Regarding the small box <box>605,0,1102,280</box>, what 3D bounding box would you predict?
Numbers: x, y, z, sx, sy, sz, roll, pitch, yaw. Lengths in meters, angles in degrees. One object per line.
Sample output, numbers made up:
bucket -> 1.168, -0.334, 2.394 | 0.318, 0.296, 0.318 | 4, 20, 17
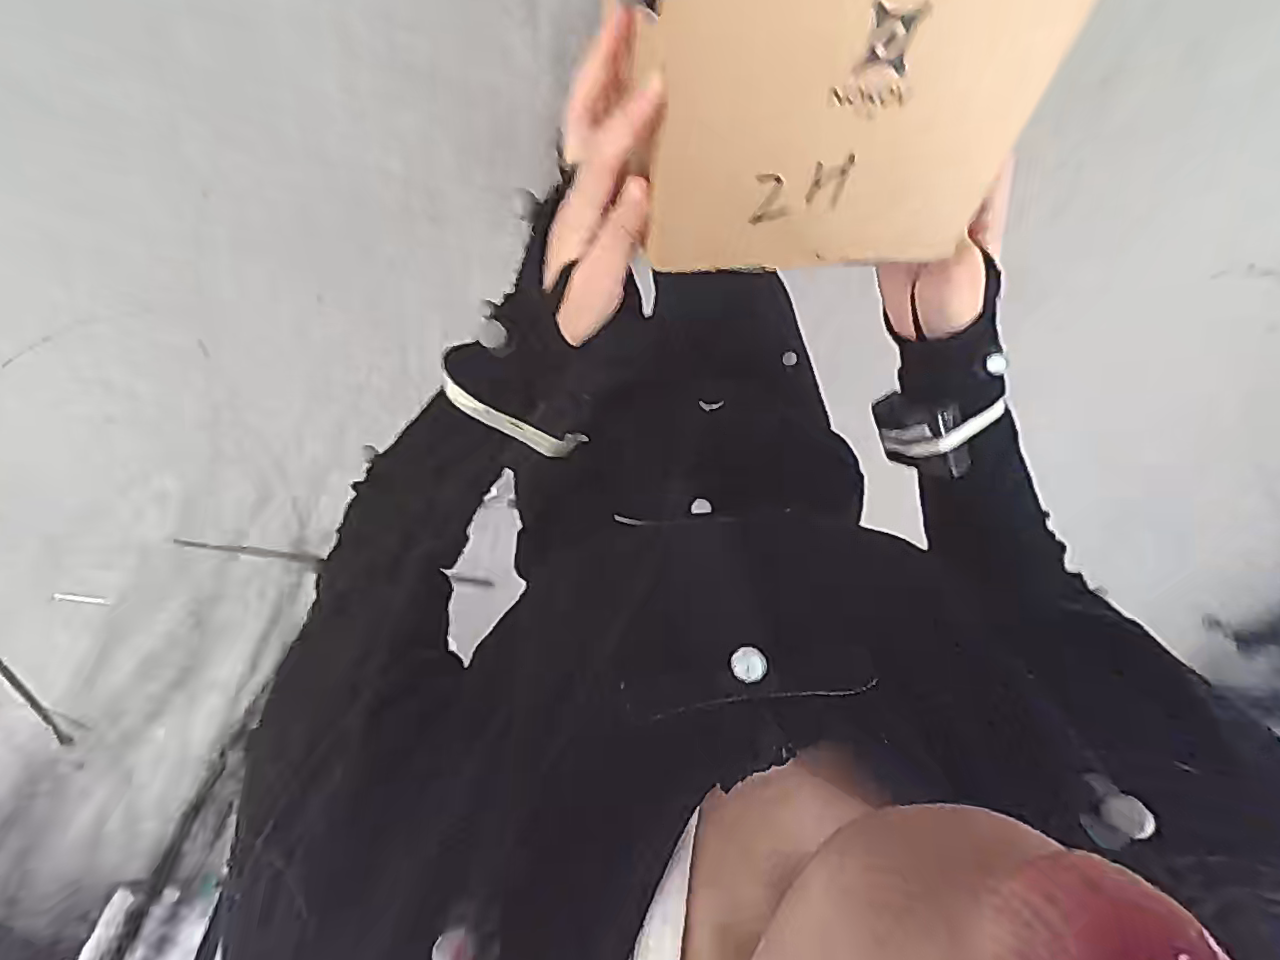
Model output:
small box -> 0.078, -0.222, 0.261 | 0.168, 0.176, 0.179 | -6, 143, -11
